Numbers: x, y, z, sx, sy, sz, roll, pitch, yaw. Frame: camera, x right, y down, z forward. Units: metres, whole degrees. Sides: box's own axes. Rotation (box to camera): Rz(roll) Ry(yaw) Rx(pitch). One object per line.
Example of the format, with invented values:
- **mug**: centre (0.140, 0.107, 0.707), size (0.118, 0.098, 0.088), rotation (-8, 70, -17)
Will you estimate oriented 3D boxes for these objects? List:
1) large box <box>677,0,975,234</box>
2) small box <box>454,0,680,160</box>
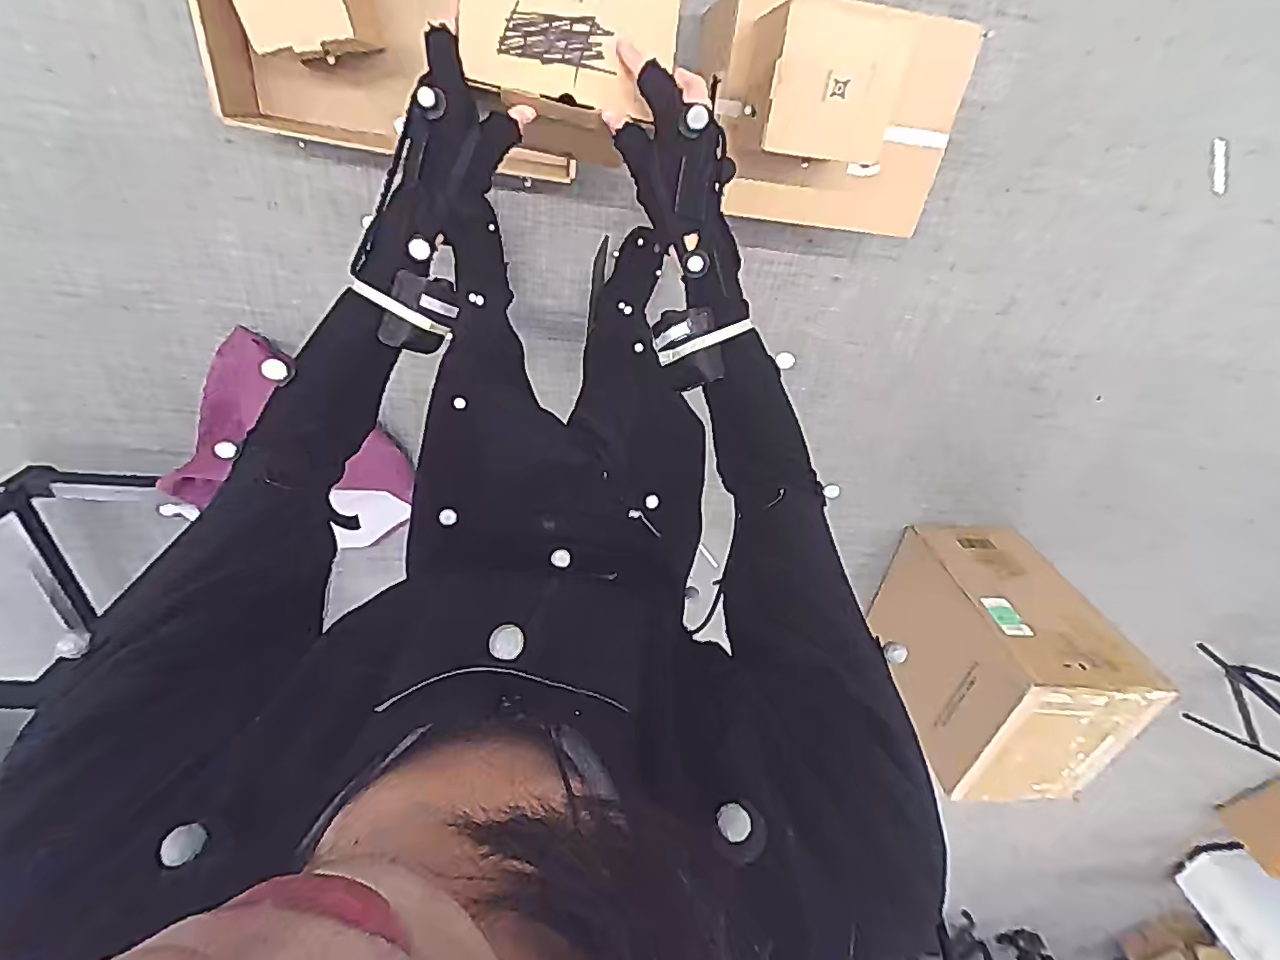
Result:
- **large box**: centre (0.304, -0.676, 1.031), size (0.408, 0.320, 0.320), rotation (3, 123, -9)
- **small box**: centre (-0.066, -0.404, 0.471), size (0.168, 0.176, 0.179), rotation (3, 107, -17)
